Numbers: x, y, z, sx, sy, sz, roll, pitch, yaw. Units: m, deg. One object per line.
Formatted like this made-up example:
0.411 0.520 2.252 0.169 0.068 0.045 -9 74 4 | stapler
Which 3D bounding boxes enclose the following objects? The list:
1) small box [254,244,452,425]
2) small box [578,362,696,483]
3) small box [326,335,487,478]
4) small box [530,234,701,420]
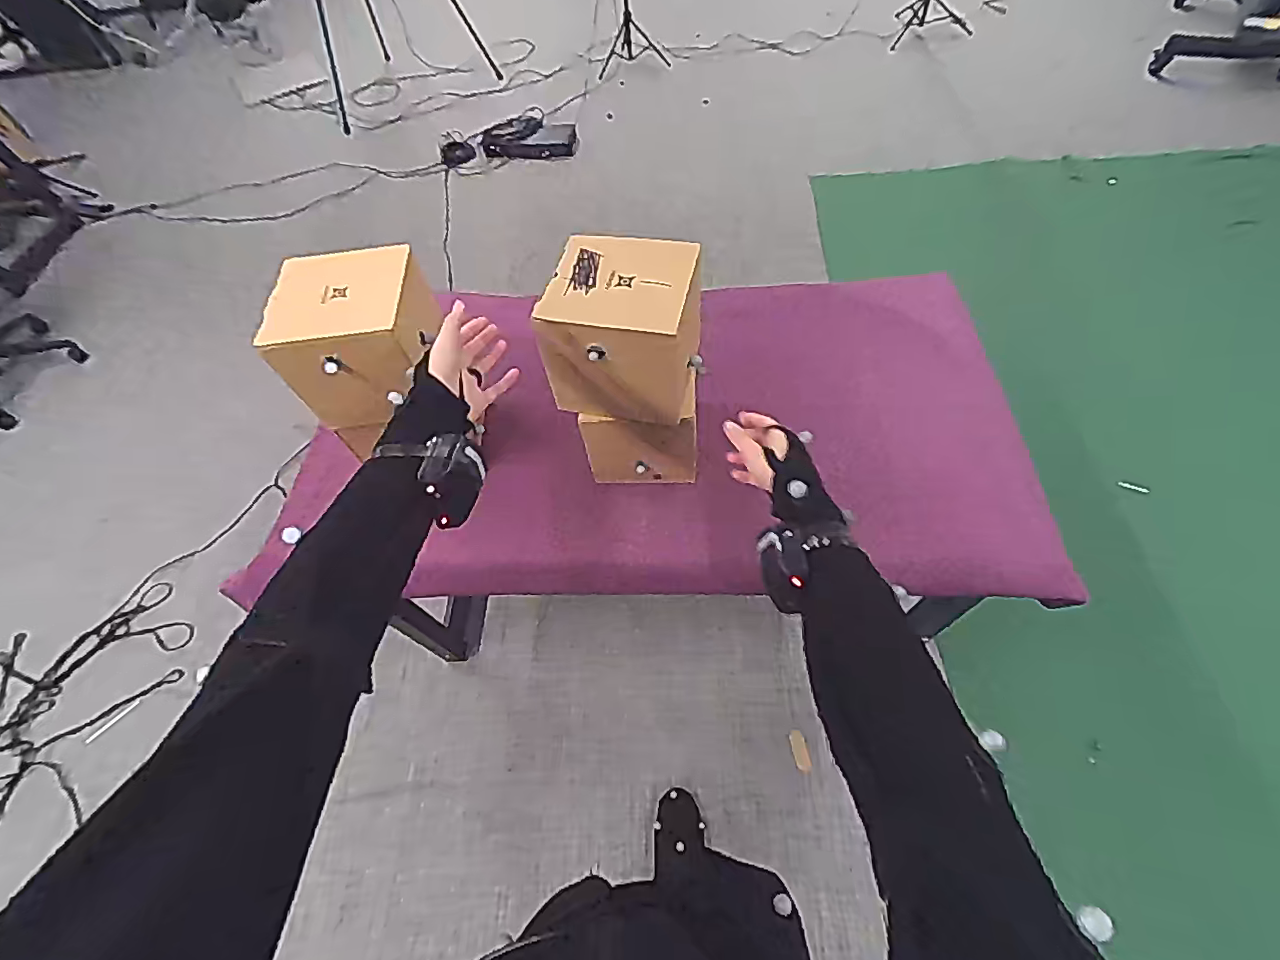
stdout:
-0.379 -0.197 0.756 0.179 0.176 0.168 -7 59 2 | small box
0.005 -0.113 0.857 0.168 0.176 0.179 0 58 6 | small box
-0.371 -0.115 0.895 0.179 0.176 0.168 -5 58 2 | small box
-0.020 -0.199 0.718 0.179 0.176 0.168 9 59 11 | small box
